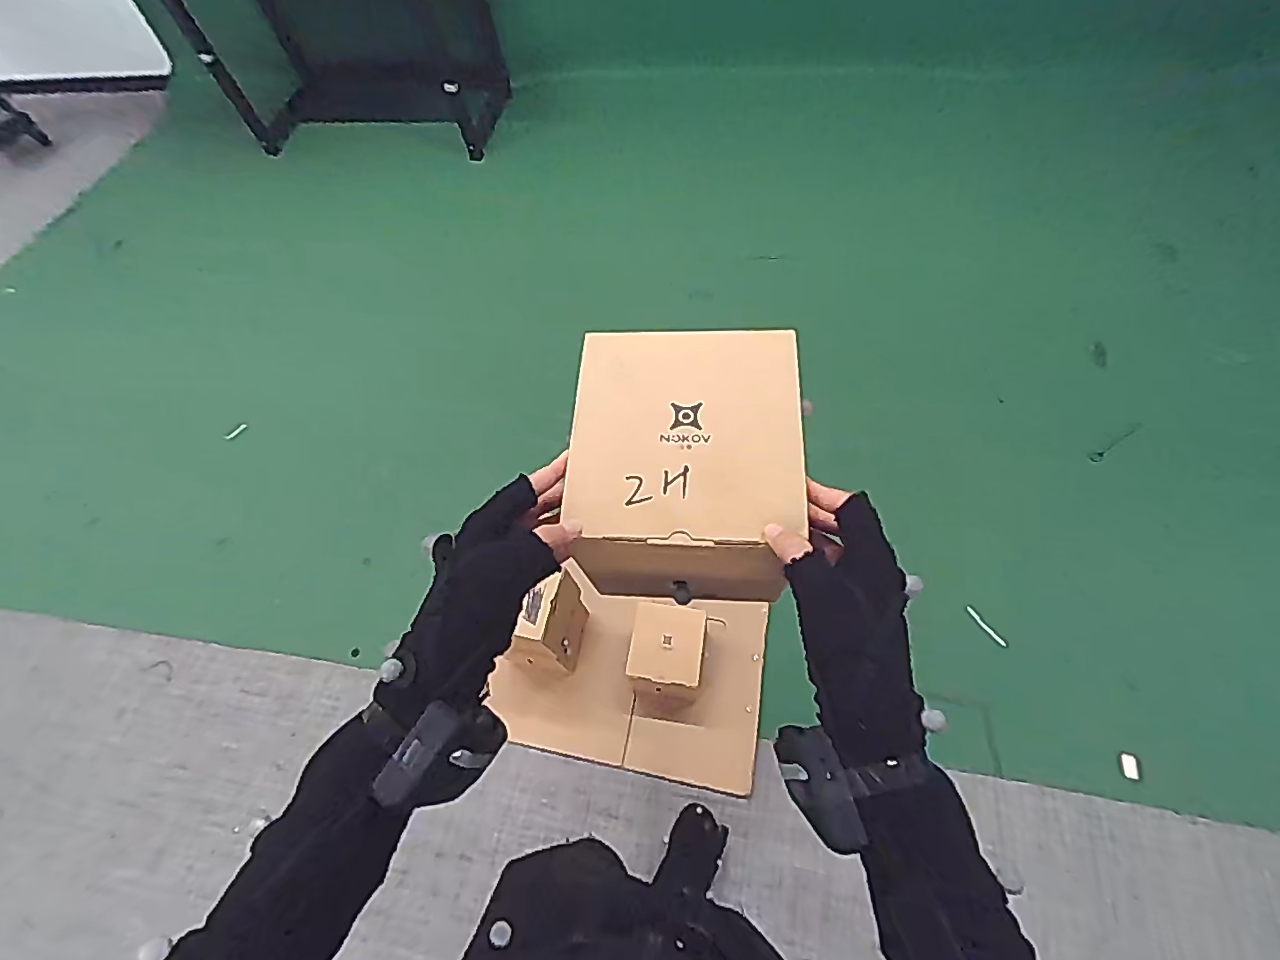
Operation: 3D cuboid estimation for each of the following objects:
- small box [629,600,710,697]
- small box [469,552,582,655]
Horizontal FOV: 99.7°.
[{"bbox_3d":[0.076,0.407,1.295,0.168,0.176,0.179,6,61,10],"label":"small box"},{"bbox_3d":[-0.245,0.282,1.209,0.179,0.176,0.168,9,62,14],"label":"small box"}]
